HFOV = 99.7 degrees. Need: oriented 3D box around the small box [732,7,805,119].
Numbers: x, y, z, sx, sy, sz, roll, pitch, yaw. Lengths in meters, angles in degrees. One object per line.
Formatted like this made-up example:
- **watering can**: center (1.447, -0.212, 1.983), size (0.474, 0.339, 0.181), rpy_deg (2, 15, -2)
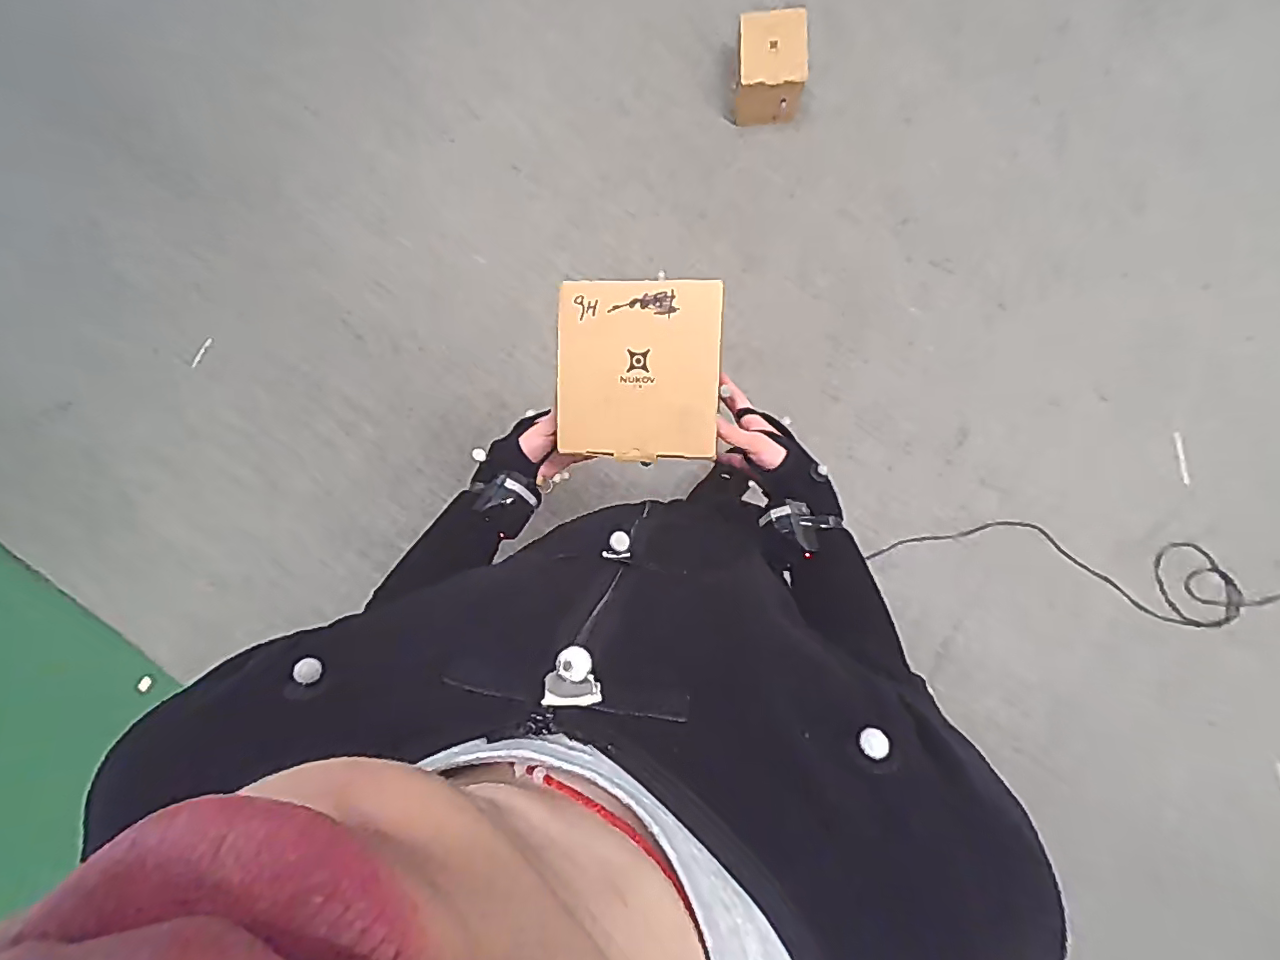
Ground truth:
- **small box**: center (0.334, -1.085, 1.426), size (0.168, 0.176, 0.179), rpy_deg (-2, 90, 4)
